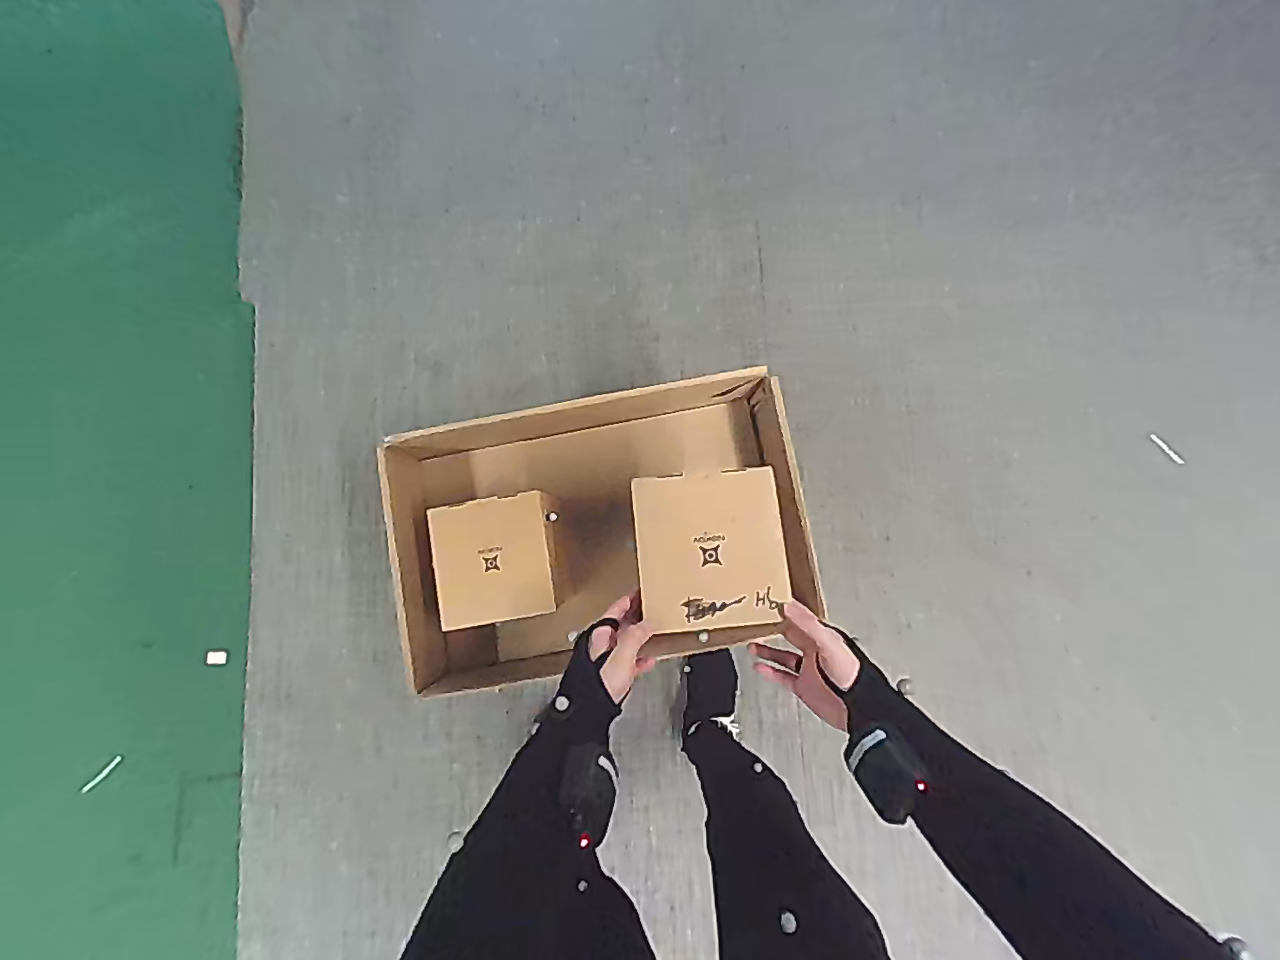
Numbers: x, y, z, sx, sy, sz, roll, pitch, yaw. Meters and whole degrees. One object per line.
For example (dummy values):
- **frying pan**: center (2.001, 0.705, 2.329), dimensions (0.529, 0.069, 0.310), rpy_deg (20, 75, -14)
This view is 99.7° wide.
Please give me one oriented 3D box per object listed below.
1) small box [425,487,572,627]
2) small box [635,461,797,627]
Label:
- **small box**: center (-0.207, 0.115, 0.830), dimensions (0.168, 0.176, 0.179), rpy_deg (-10, 82, 1)
- **small box**: center (0.081, 0.085, 0.671), dimensions (0.168, 0.176, 0.179), rpy_deg (-5, 78, -1)
